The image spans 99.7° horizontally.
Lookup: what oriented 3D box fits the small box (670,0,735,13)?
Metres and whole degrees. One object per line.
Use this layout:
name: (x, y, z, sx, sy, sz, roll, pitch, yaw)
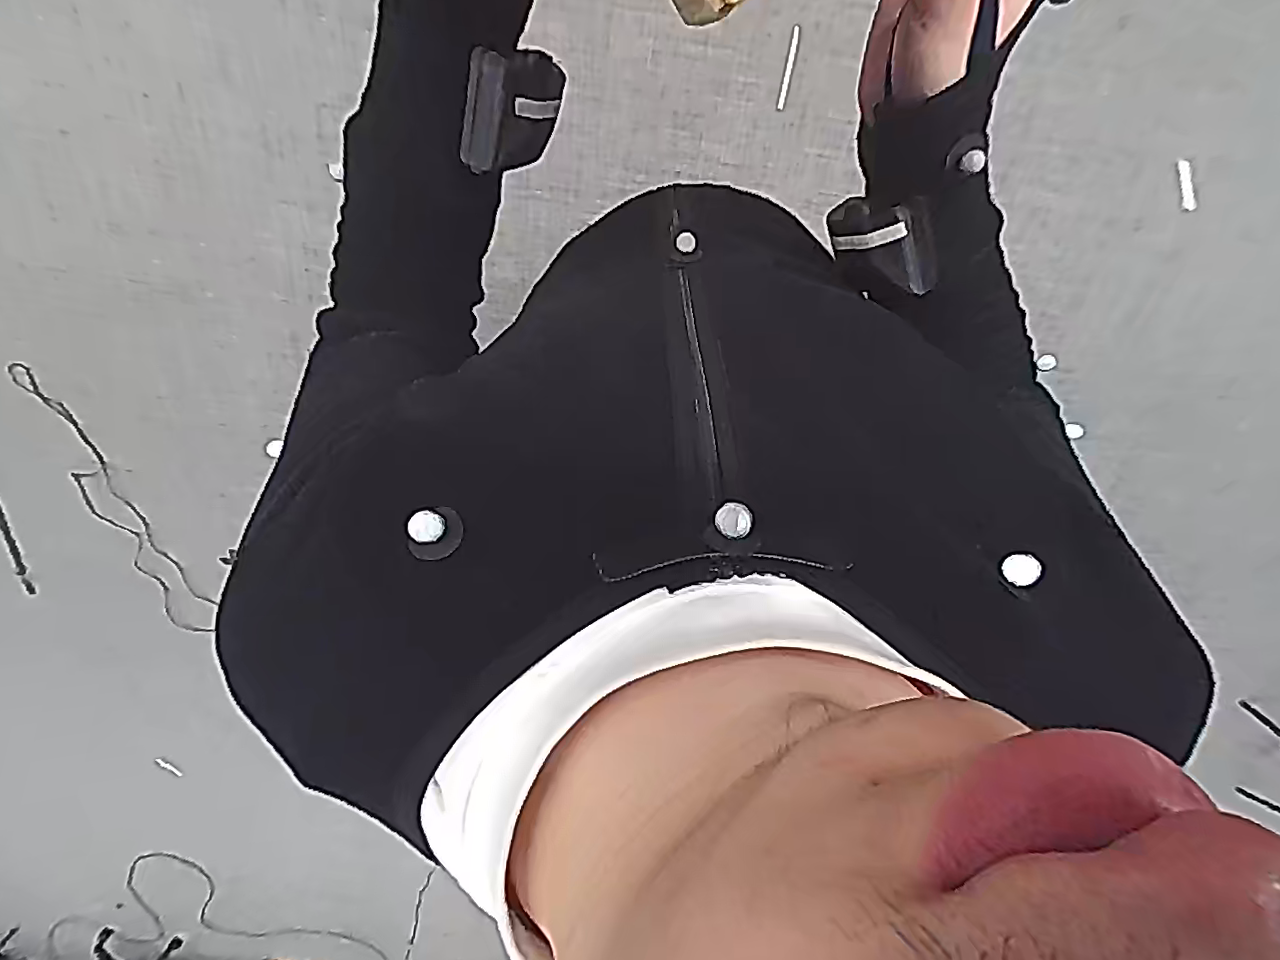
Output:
small box: (0.045, -0.272, 0.146, 0.179, 0.176, 0.168, -29, 125, 21)
